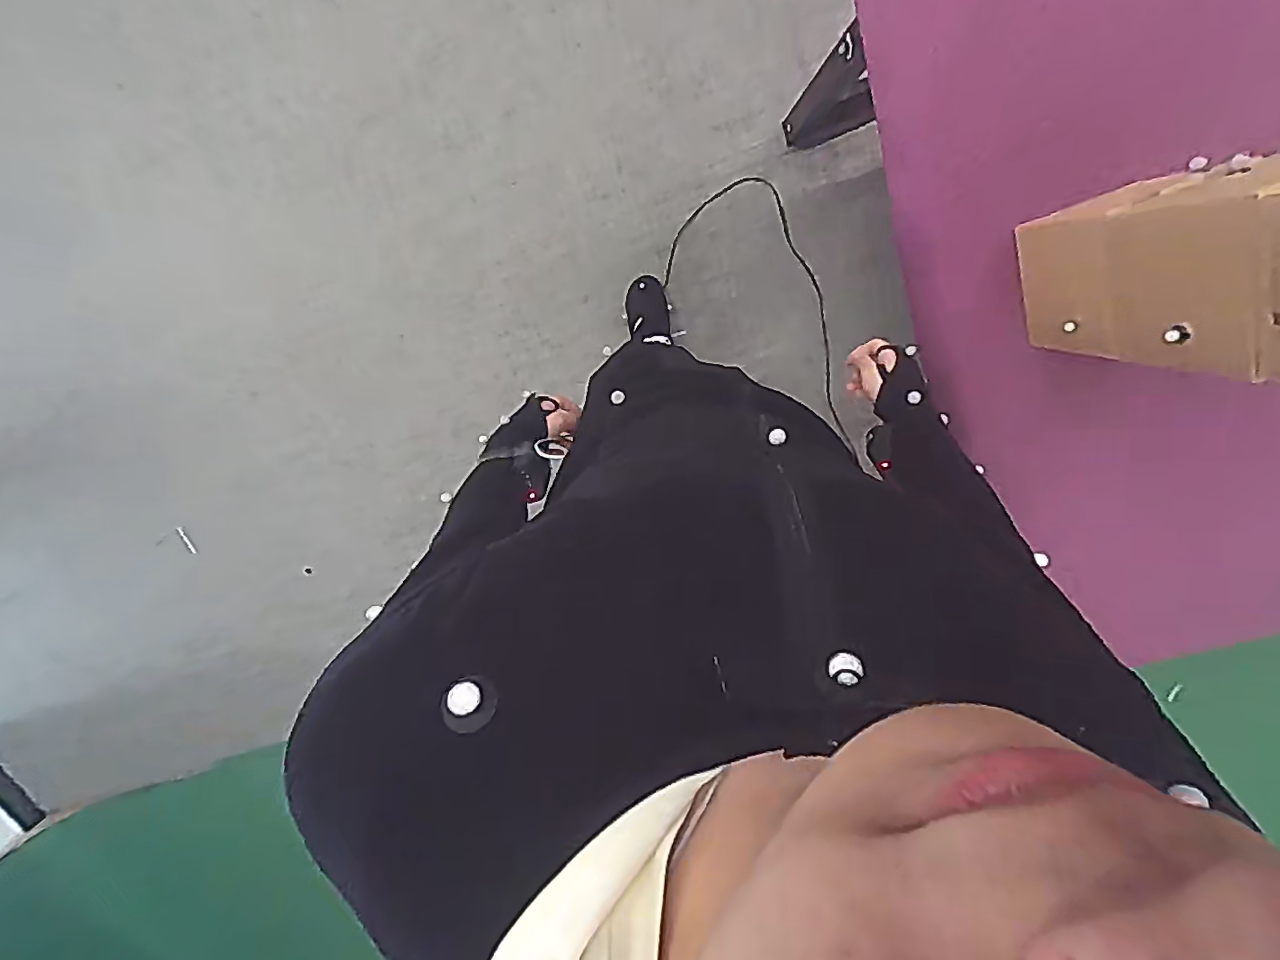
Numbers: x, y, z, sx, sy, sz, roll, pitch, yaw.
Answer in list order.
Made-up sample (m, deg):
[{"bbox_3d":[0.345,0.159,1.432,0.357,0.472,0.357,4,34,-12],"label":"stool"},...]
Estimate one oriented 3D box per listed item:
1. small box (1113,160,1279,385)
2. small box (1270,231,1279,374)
[{"bbox_3d":[0.626,-0.216,0.541,0.168,0.176,0.179,-18,107,8],"label":"small box"},{"bbox_3d":[0.625,-0.164,0.387,0.179,0.176,0.168,-19,108,9],"label":"small box"}]
